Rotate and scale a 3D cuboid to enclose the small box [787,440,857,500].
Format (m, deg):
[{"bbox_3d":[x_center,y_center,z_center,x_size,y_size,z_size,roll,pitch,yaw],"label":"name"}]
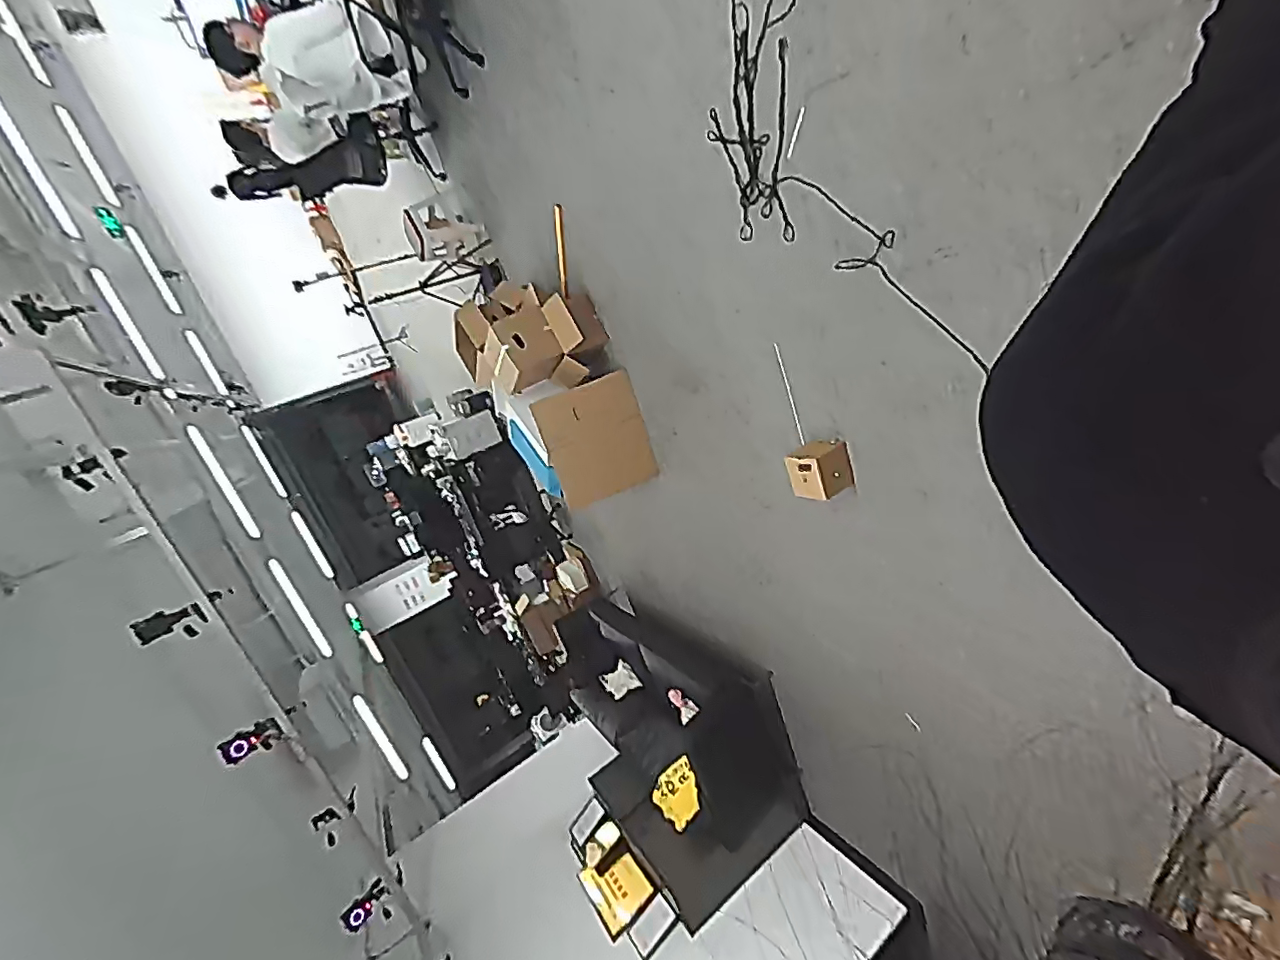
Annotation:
[{"bbox_3d":[0.705,-0.046,2.087,0.168,0.176,0.179,11,126,61],"label":"small box"}]
